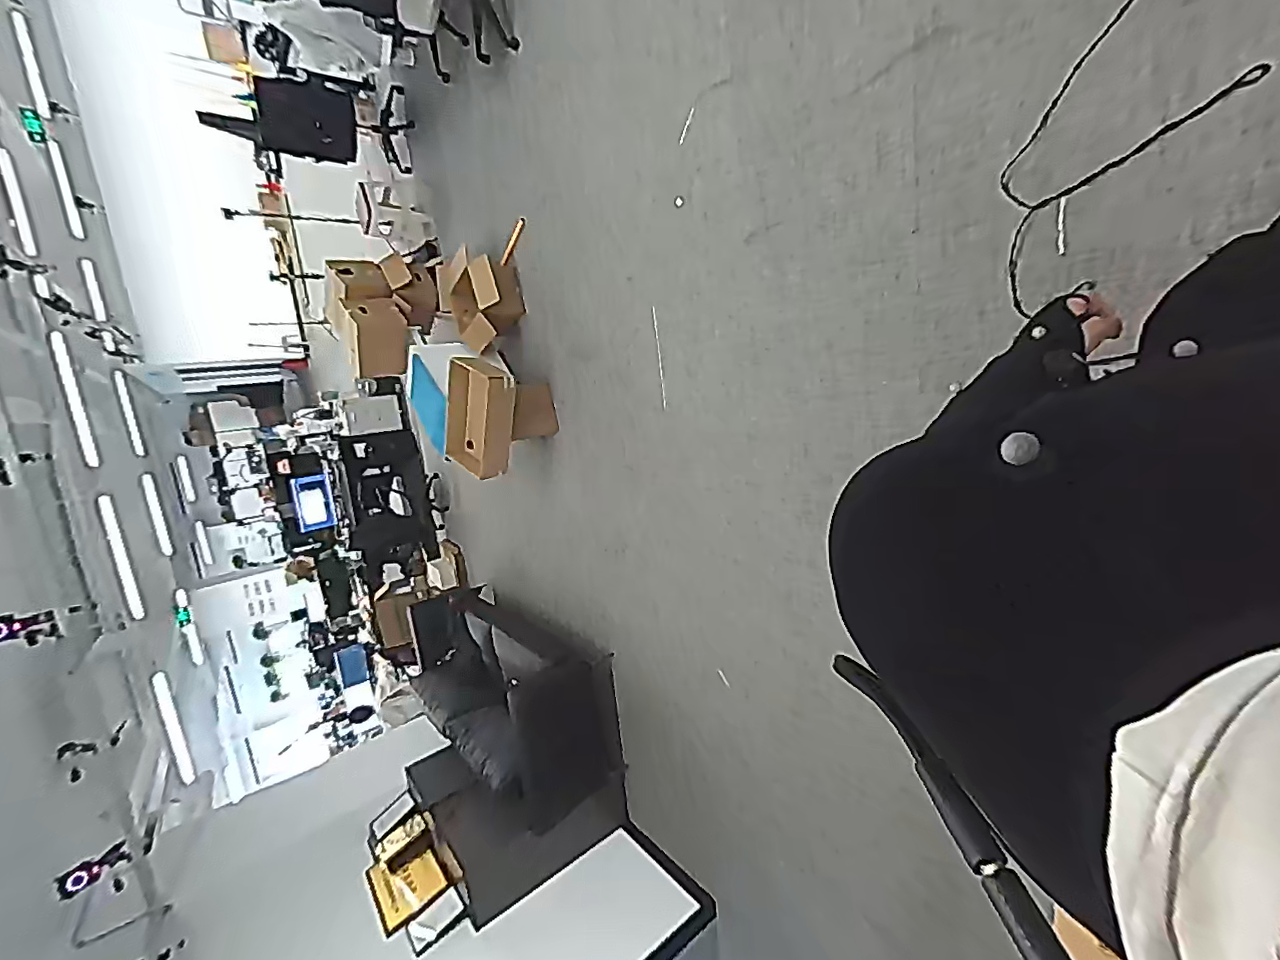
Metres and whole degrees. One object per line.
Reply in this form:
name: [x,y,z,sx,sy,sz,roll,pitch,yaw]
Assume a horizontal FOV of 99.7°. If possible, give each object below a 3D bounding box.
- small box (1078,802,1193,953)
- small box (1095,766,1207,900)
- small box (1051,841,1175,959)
small box: [1.100,0.867,1.203,0.168,0.176,0.179,2,104,53]
small box: [1.228,0.834,1.299,0.168,0.176,0.179,-3,98,53]
small box: [0.971,0.900,1.112,0.168,0.176,0.179,3,104,52]
